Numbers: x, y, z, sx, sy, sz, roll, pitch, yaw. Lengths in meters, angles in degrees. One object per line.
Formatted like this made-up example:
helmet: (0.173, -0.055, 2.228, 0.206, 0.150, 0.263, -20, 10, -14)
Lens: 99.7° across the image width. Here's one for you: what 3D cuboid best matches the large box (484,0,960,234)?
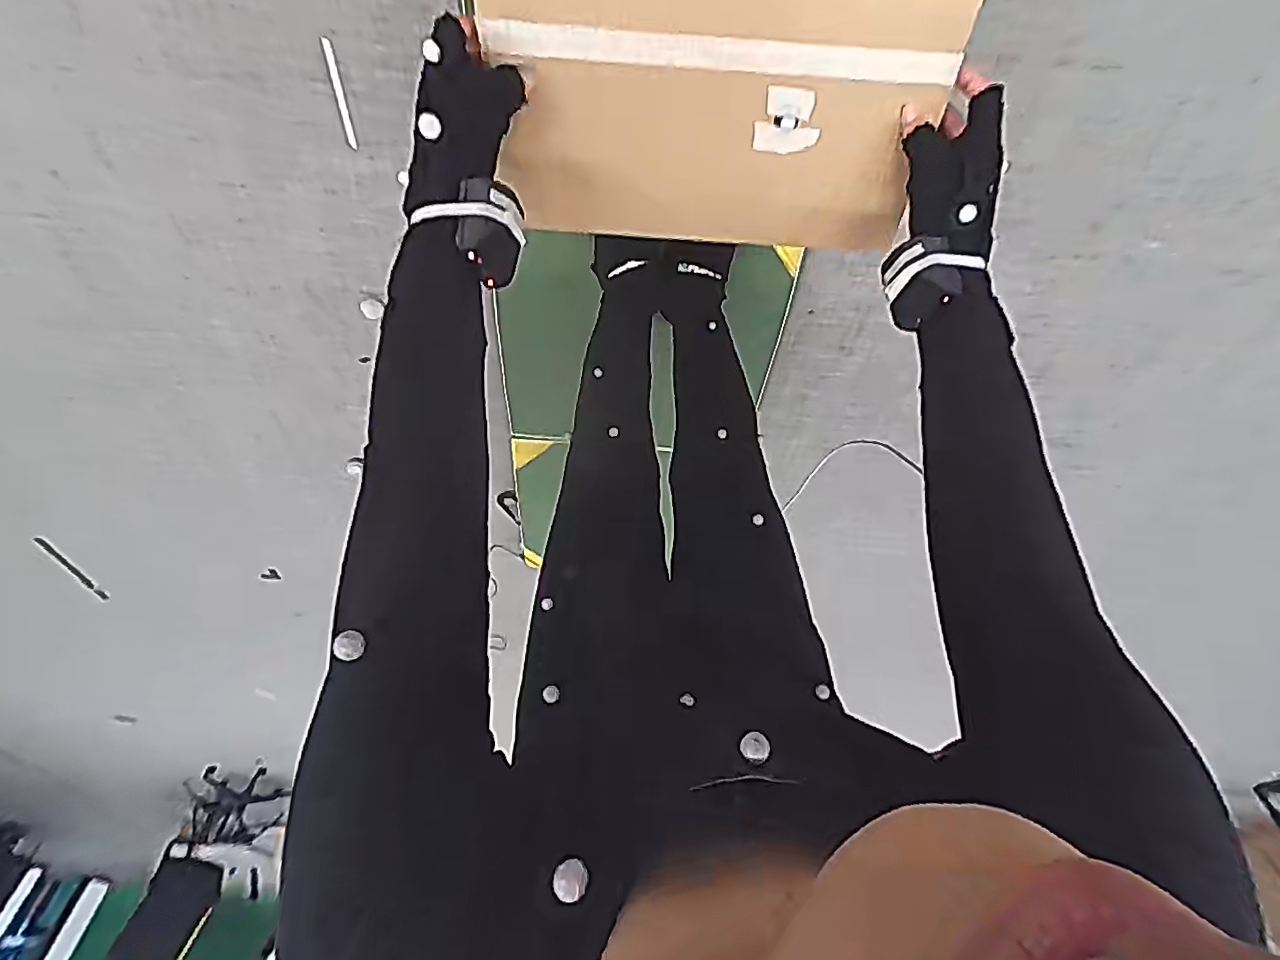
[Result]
large box: (0.065, -0.482, 0.577, 0.408, 0.320, 0.320, 2, 136, -2)
